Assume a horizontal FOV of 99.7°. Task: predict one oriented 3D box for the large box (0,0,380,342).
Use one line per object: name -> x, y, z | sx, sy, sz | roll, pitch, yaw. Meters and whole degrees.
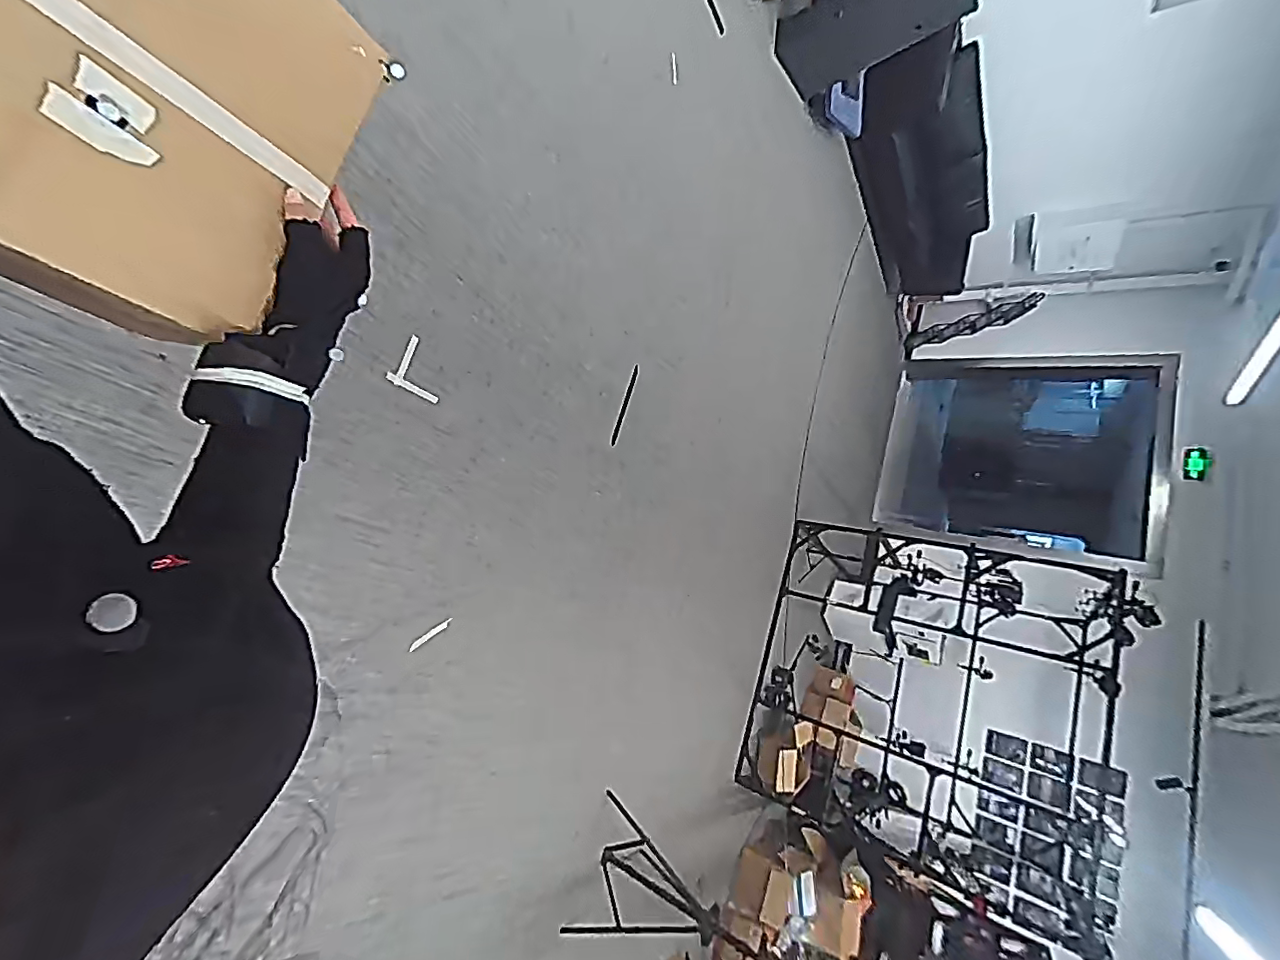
large box -> -0.520, -0.348, 0.429 | 0.408, 0.320, 0.320 | 31, 77, -53
